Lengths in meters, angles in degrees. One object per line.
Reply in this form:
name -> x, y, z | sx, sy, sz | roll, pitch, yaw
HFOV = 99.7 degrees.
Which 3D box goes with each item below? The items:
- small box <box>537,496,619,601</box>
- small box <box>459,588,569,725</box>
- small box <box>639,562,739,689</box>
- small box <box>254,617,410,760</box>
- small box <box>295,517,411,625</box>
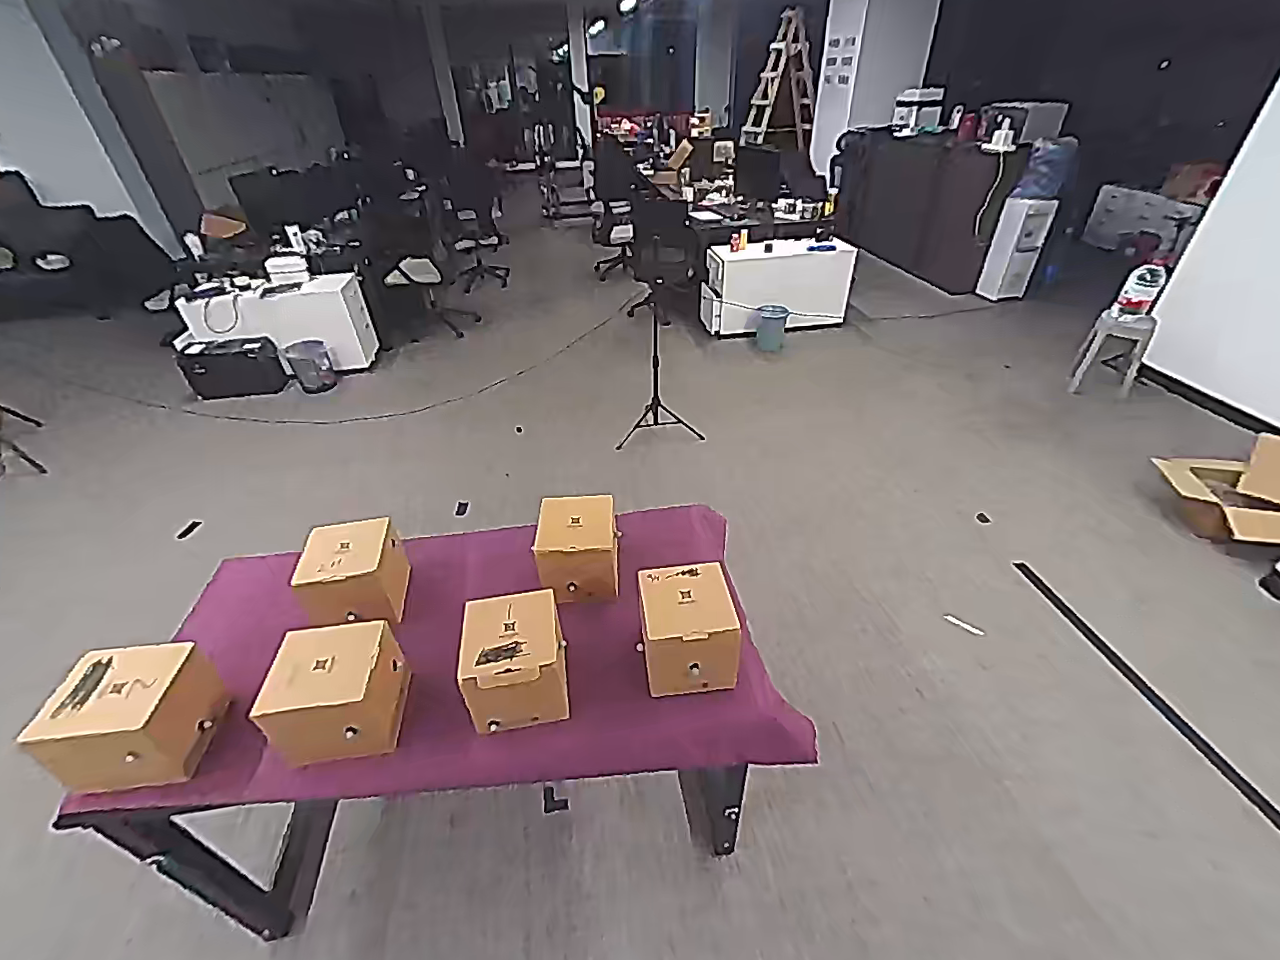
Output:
small box -> -0.135, 0.157, 1.240 | 0.168, 0.176, 0.179 | -3, 38, 0
small box -> -0.226, 0.331, 1.004 | 0.168, 0.176, 0.179 | -7, 36, -7
small box -> 0.091, 0.285, 1.047 | 0.168, 0.176, 0.179 | -5, 35, -3
small box -> -0.530, 0.371, 0.965 | 0.179, 0.176, 0.168 | -6, 37, -6
small box -> -0.618, 0.208, 1.192 | 0.168, 0.176, 0.179 | -8, 37, -8
